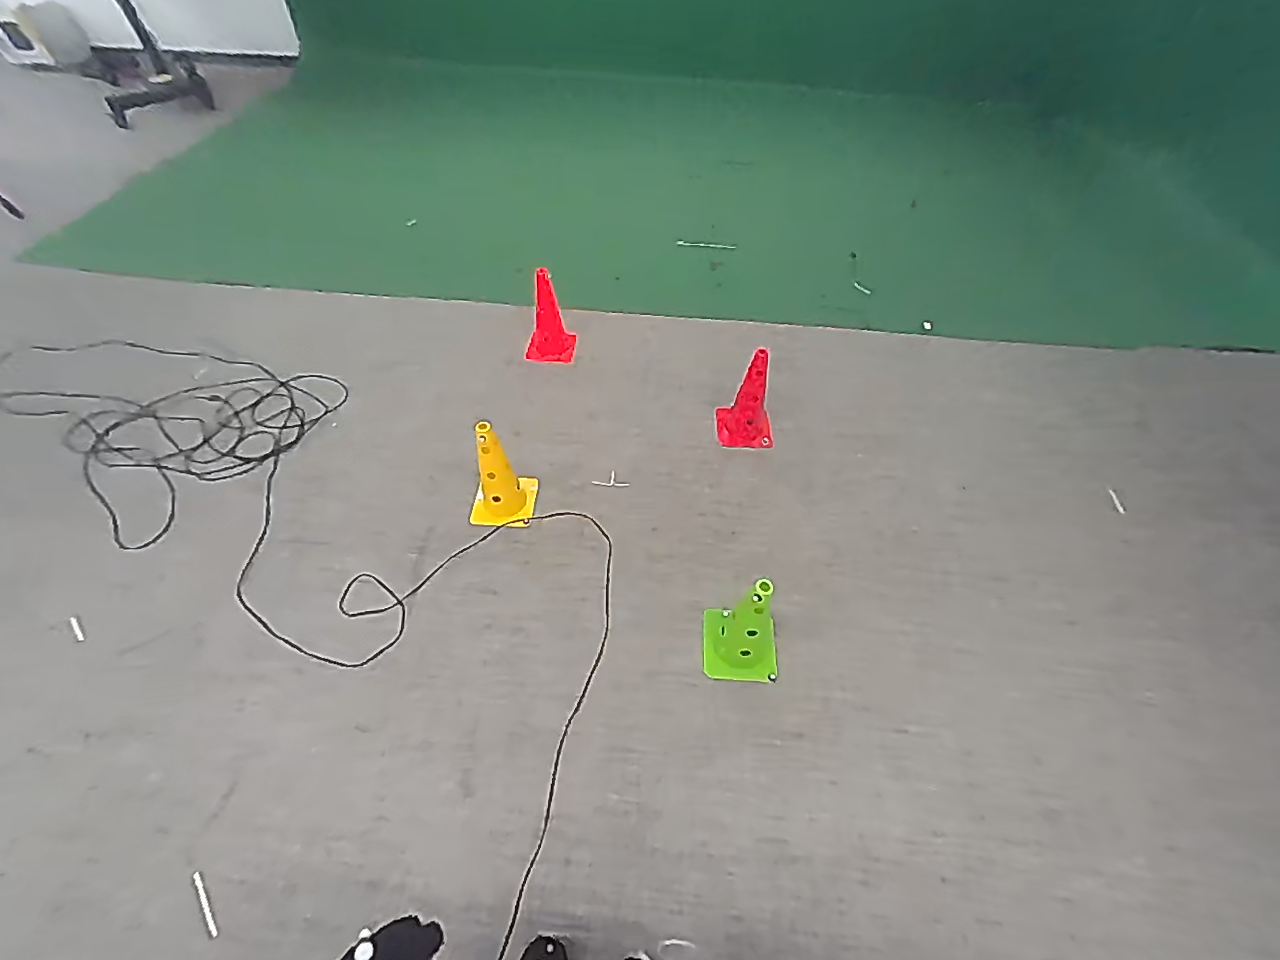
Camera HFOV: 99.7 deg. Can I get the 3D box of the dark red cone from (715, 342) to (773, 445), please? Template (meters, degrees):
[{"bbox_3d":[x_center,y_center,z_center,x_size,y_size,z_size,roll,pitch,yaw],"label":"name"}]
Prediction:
[{"bbox_3d":[0.389,-0.308,1.890,0.202,0.394,0.201,0,50,-1],"label":"dark red cone"}]

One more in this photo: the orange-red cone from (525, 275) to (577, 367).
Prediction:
[{"bbox_3d":[-0.380,-0.655,2.184,0.198,0.360,0.199,4,52,3],"label":"orange-red cone"}]

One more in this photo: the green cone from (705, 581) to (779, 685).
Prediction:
[{"bbox_3d":[0.281,0.359,1.379,0.202,0.368,0.200,3,51,2],"label":"green cone"}]
